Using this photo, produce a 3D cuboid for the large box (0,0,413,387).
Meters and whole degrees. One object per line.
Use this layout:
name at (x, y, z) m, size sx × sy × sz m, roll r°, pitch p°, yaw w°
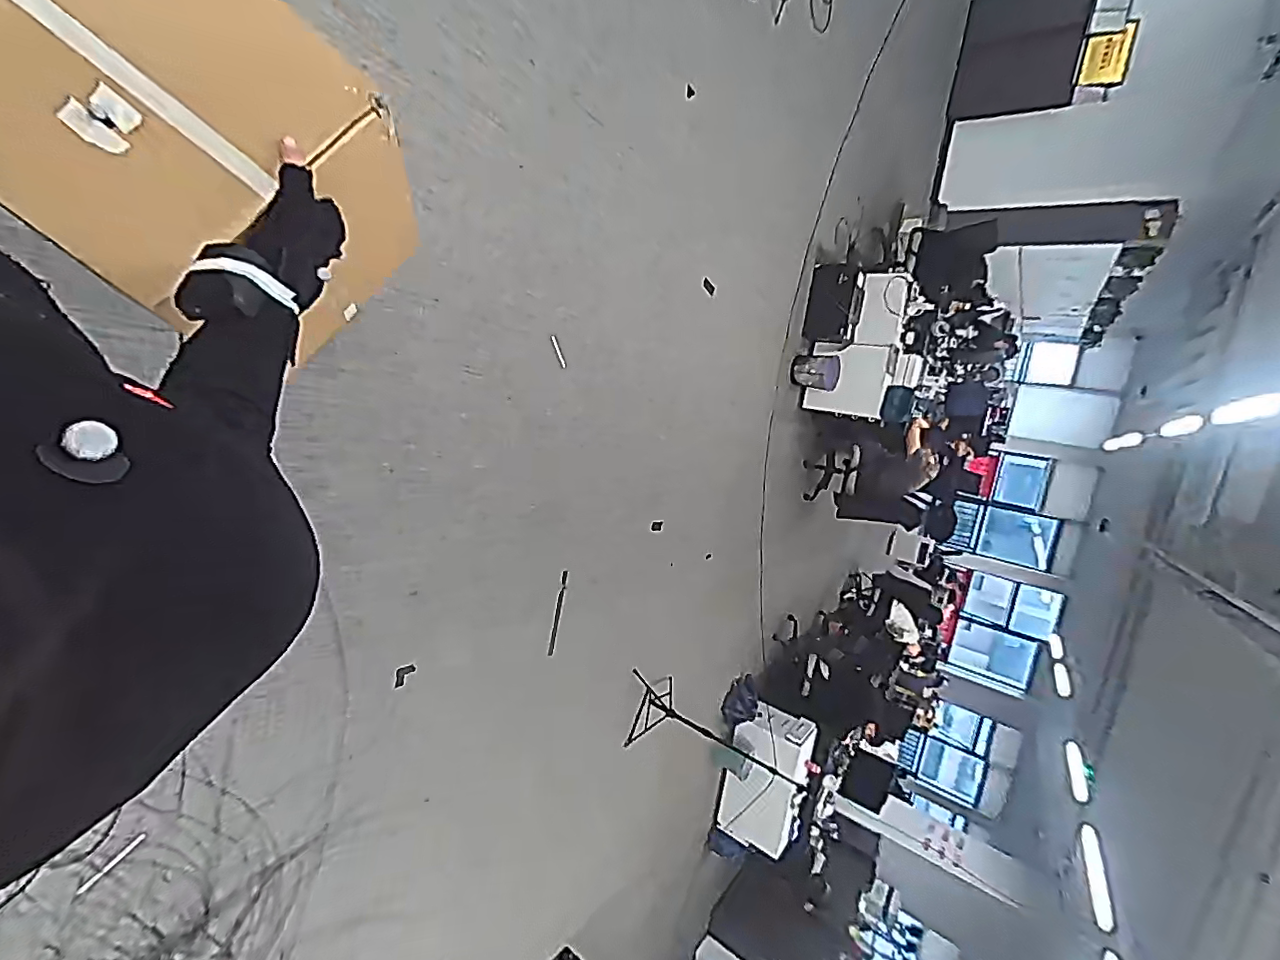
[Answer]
large box at (-0.550, -0.380, 0.645) m, size 0.408 × 0.320 × 0.320 m, roll 39°, pitch 77°, yaw -11°
